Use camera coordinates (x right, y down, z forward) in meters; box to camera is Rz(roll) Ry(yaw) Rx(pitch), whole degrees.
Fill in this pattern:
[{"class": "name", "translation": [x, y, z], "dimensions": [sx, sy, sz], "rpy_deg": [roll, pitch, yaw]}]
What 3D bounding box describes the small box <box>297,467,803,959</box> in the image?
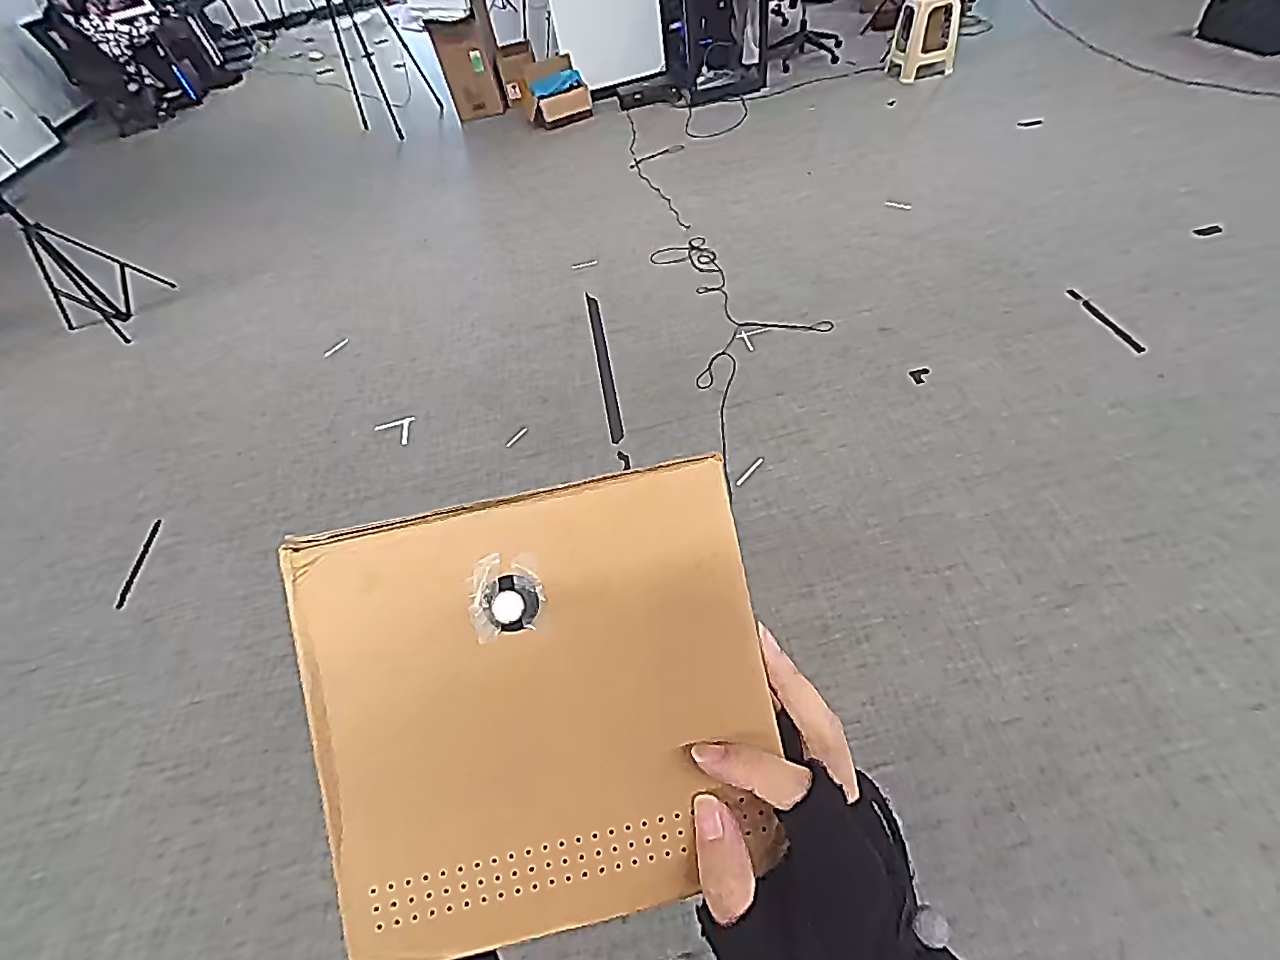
[{"class": "small box", "translation": [-0.036, 0.098, 0.288], "dimensions": [0.179, 0.168, 0.176], "rpy_deg": [-12, 88, -3]}]
